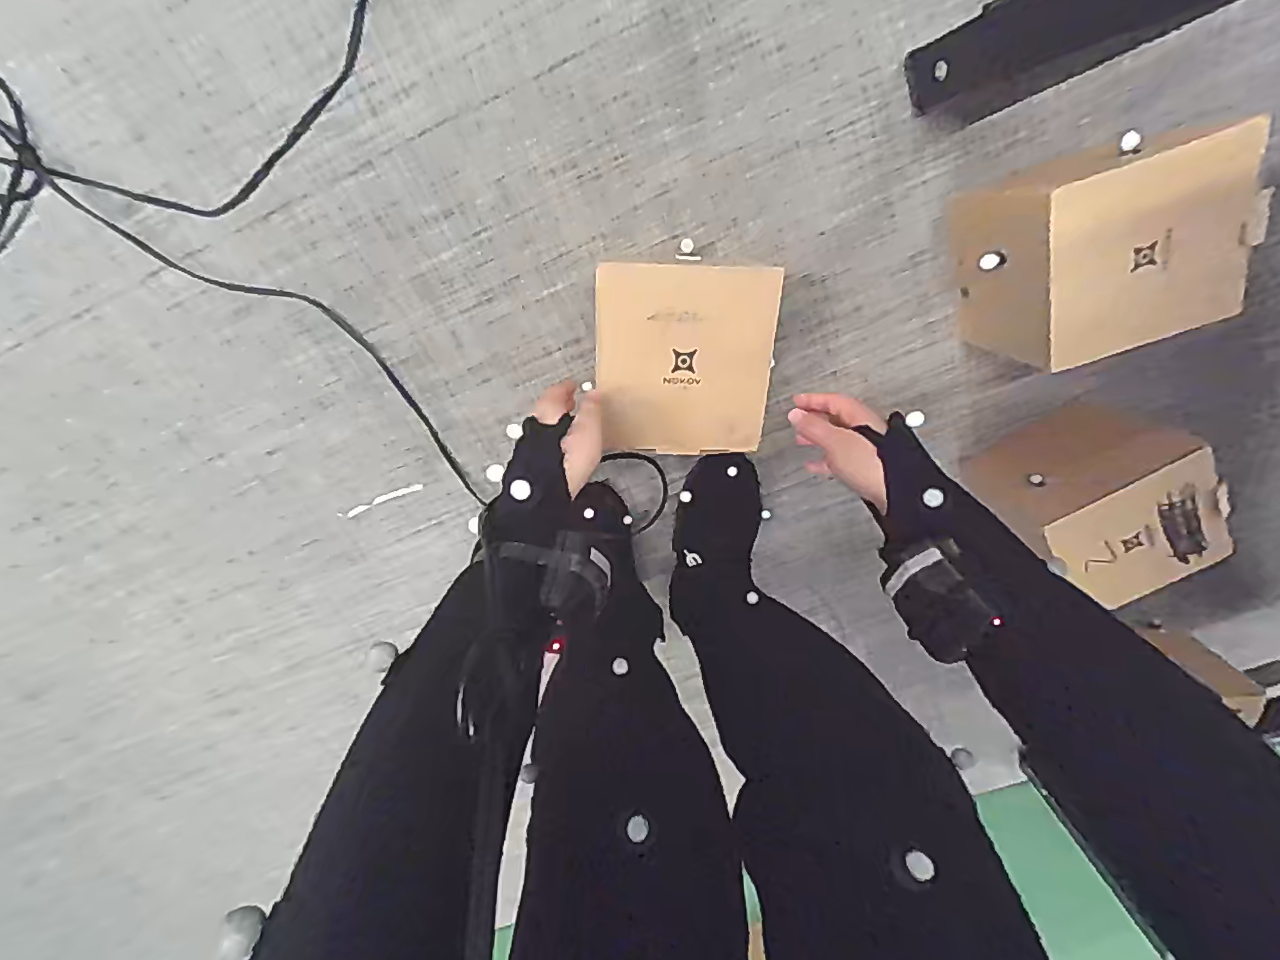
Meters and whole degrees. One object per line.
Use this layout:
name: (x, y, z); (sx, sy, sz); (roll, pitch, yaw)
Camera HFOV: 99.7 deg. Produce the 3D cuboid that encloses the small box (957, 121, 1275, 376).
small box: (0.445, -0.224, 0.542); (0.179, 0.176, 0.168); (-18, 114, 6)
